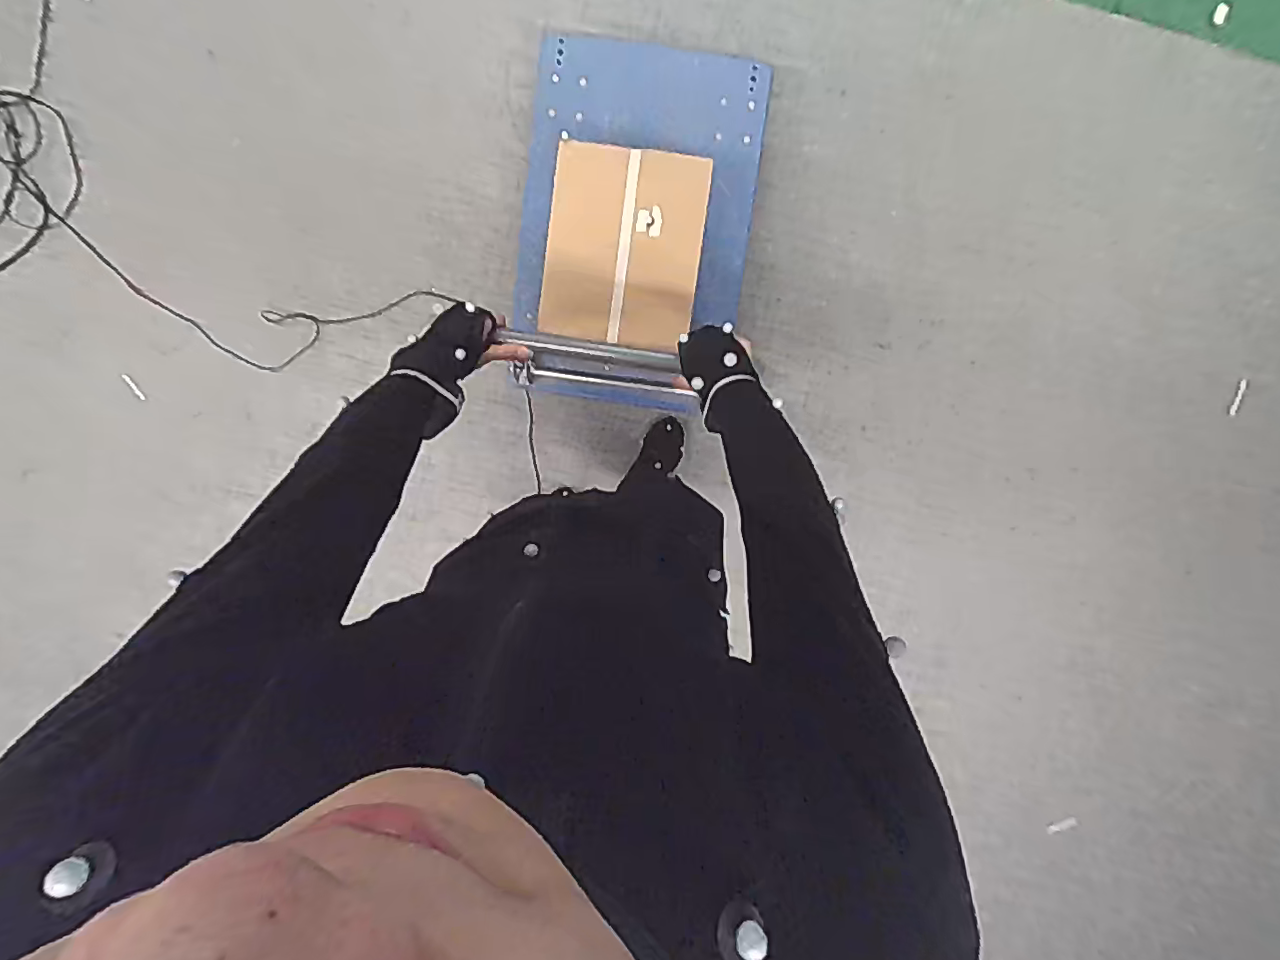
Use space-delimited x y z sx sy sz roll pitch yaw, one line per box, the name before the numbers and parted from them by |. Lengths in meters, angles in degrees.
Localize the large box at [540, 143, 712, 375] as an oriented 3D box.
large box | -0.026 -0.471 1.241 0.320 0.320 0.408 8 96 0
